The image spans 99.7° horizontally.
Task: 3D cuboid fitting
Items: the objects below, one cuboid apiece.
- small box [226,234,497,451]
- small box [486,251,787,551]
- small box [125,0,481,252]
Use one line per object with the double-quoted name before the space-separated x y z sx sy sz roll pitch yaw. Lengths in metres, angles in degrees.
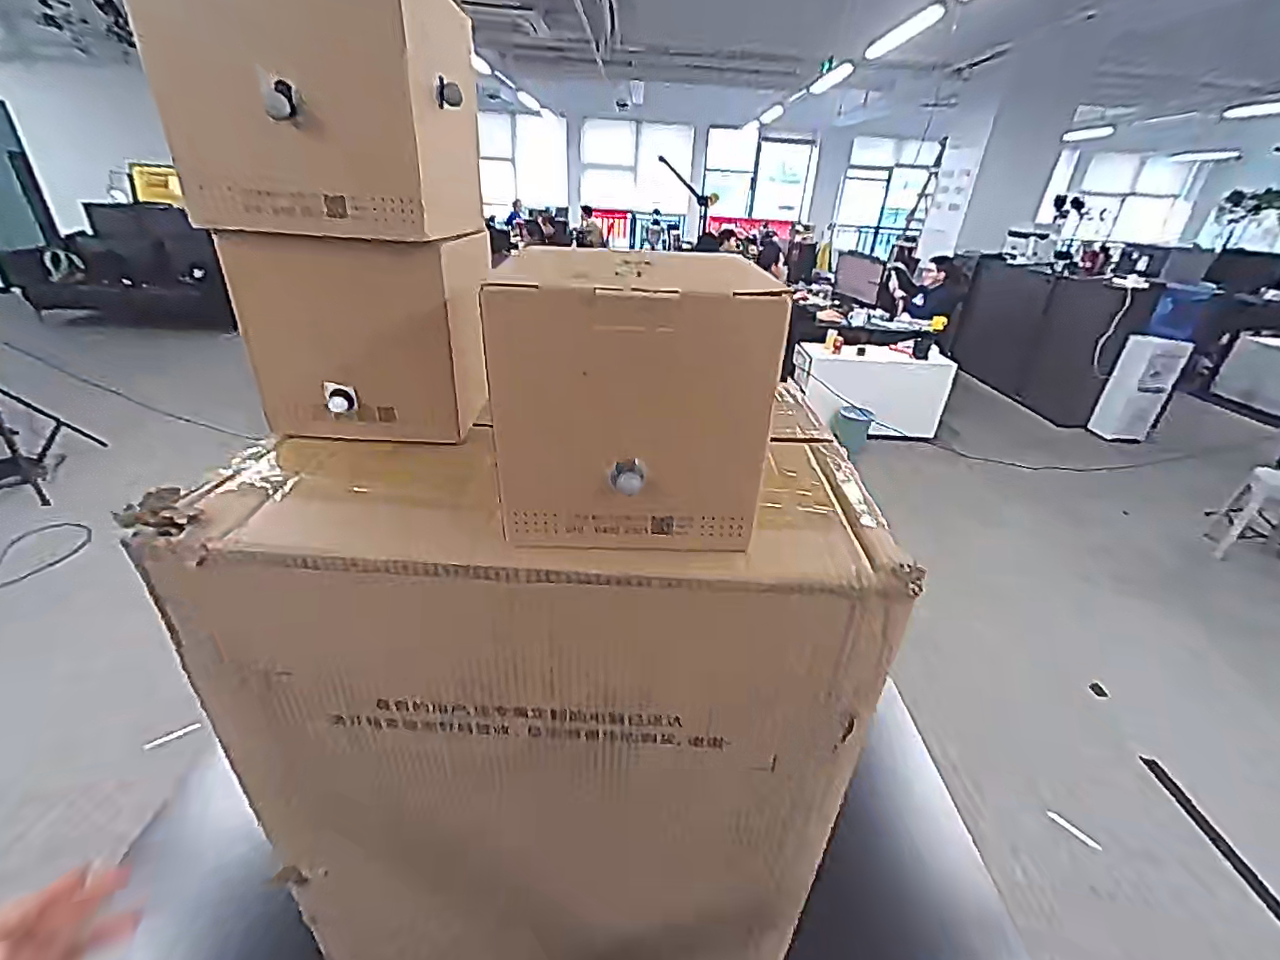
"small box" -0.235 -0.140 0.513 0.168 0.176 0.179 1 29 -4
"small box" -0.005 -0.067 0.399 0.168 0.176 0.179 1 29 -1
"small box" -0.229 -0.278 0.423 0.168 0.176 0.179 2 28 -3
